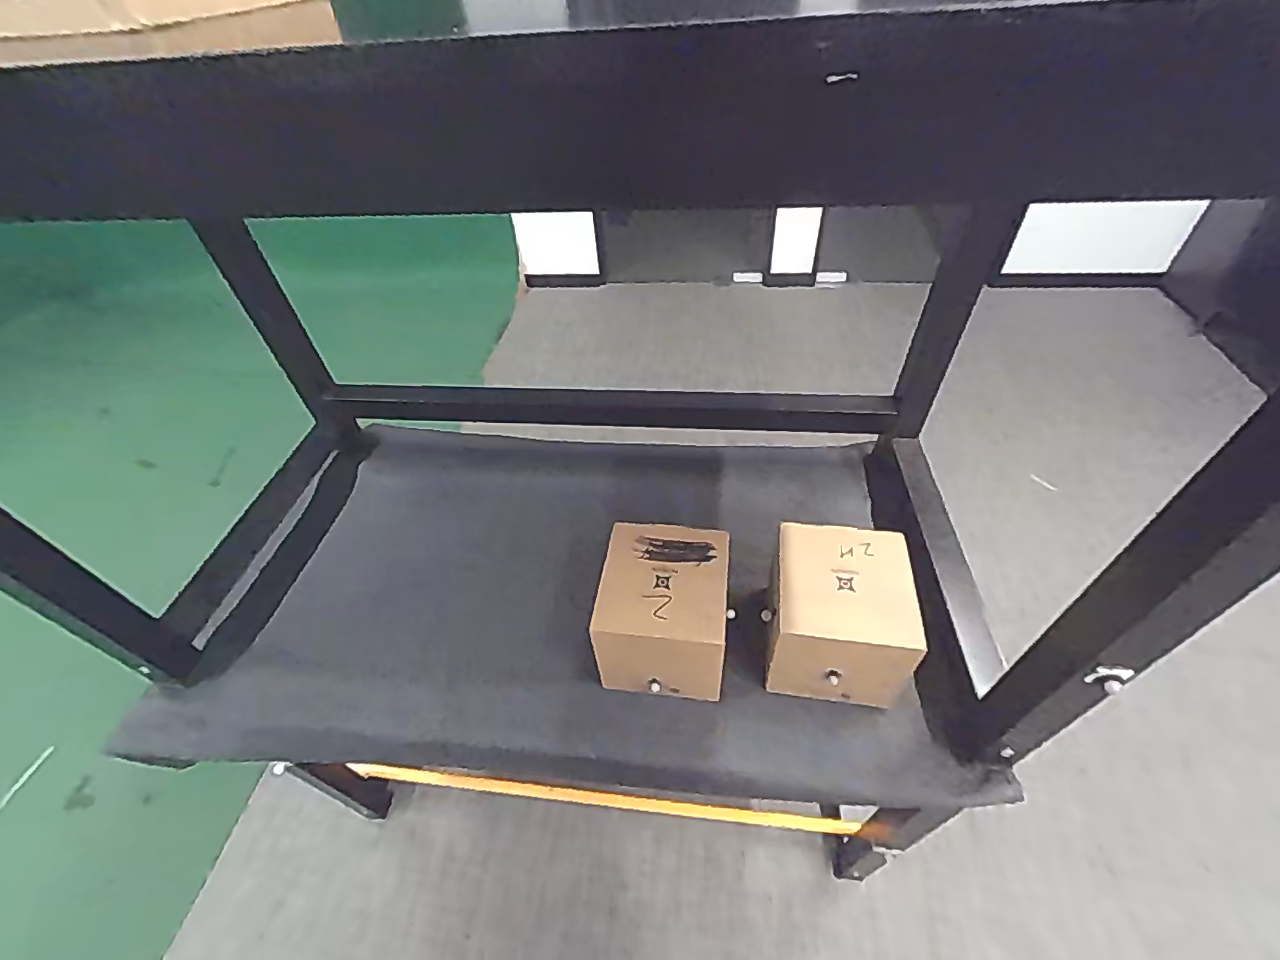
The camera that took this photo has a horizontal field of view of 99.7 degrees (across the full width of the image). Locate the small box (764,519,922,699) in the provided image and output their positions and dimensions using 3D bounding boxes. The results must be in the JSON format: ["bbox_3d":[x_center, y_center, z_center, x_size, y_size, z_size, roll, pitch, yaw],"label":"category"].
[{"bbox_3d":[0.265,0.179,0.745,0.168,0.176,0.179,5,46,9],"label":"small box"}]

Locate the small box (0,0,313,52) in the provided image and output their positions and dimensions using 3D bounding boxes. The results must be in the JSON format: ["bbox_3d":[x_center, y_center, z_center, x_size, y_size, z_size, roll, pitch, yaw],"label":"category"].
[{"bbox_3d":[-0.323,-0.347,0.291,0.168,0.176,0.179,4,46,9],"label":"small box"}]
